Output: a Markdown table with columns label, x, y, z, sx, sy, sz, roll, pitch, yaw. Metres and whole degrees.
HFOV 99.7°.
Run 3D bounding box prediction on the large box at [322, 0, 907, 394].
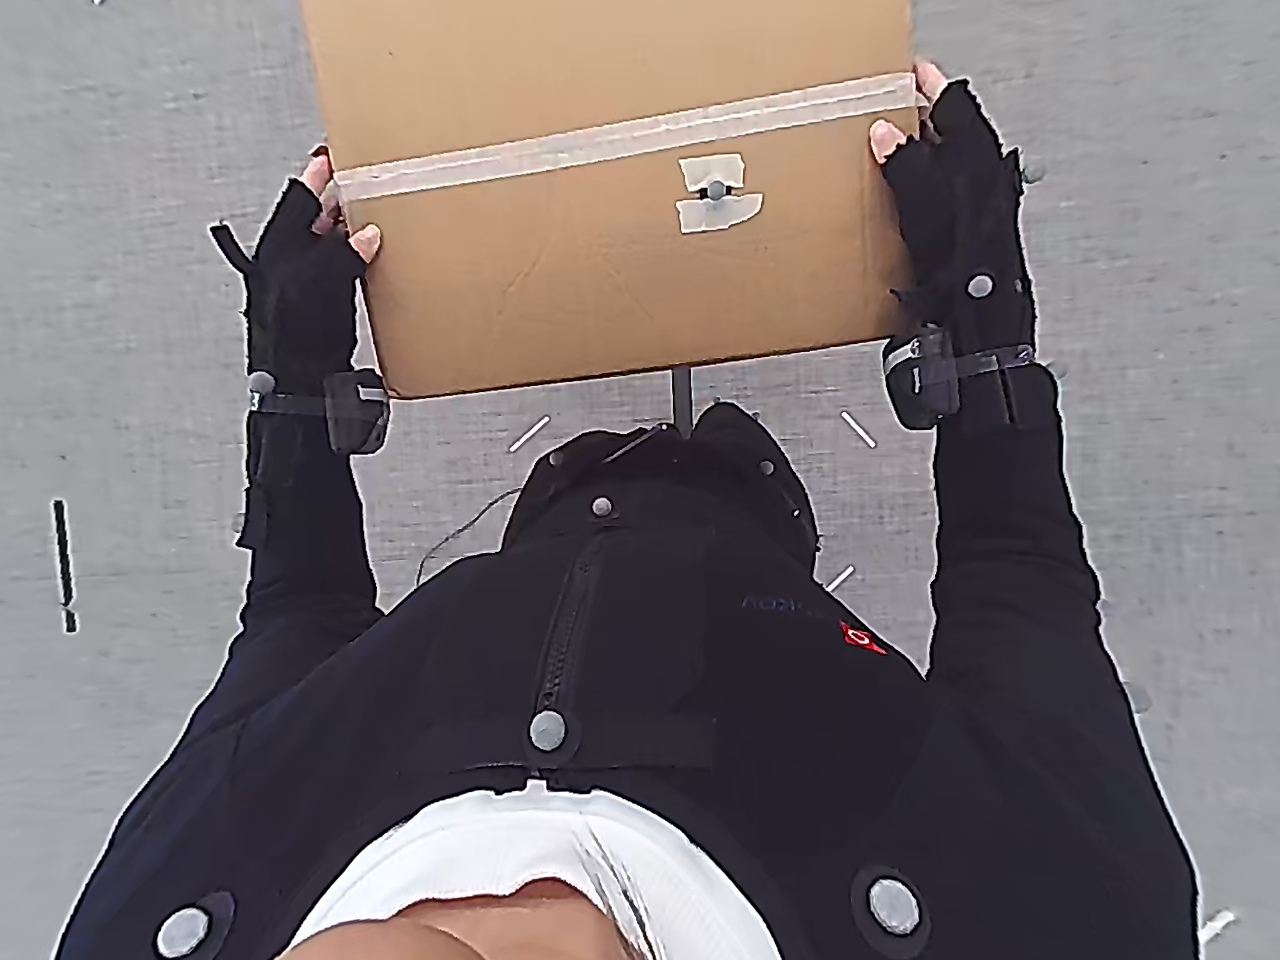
| label | x | y | z | sx | sy | sz | roll | pitch | yaw |
| --- | --- | --- | --- | --- | --- | --- | --- | --- | --- |
| large box | -0.008 | -0.272 | 0.540 | 0.408 | 0.320 | 0.320 | -7 | 102 | 5 |
